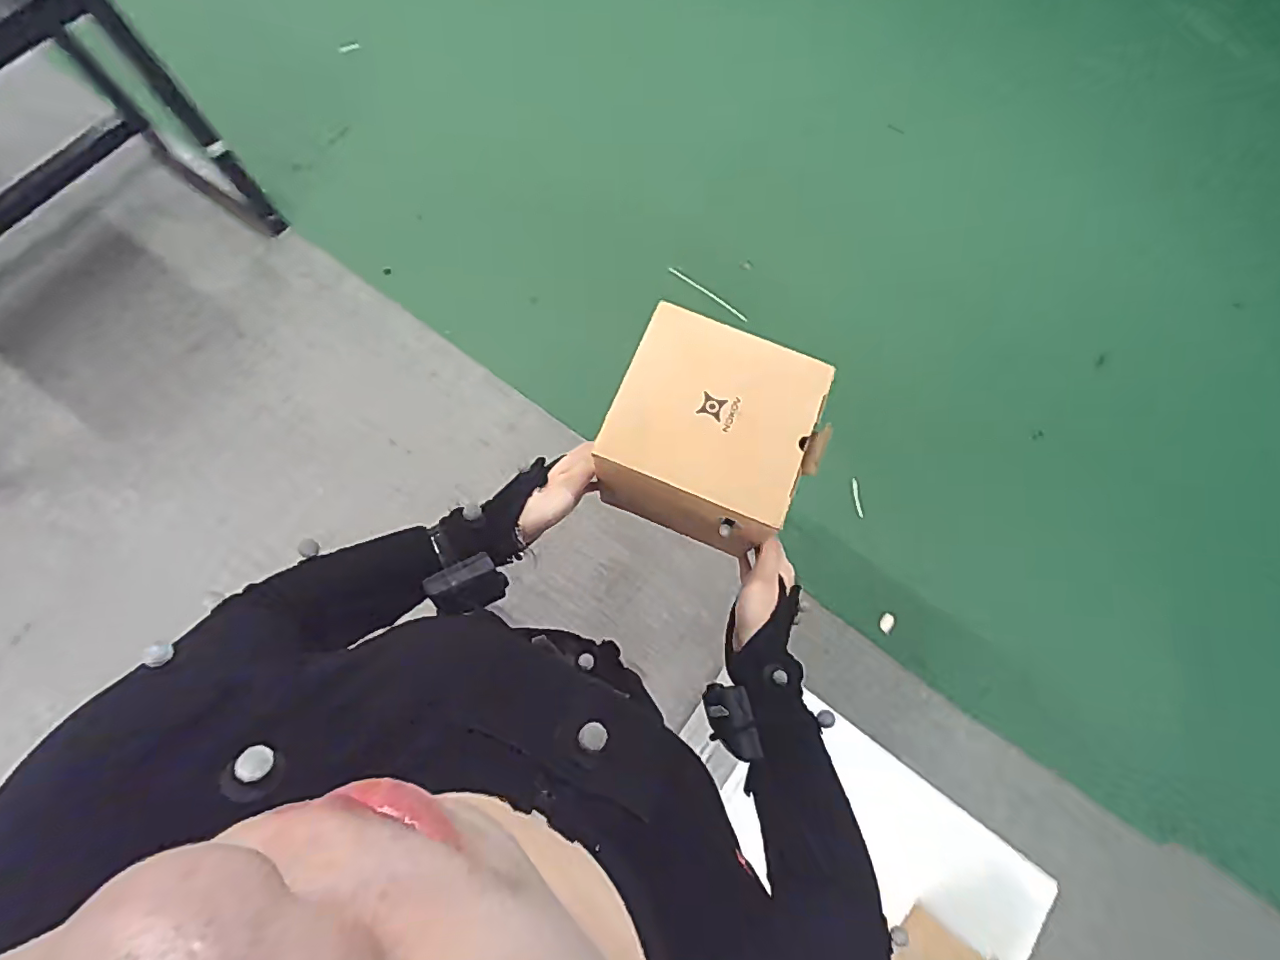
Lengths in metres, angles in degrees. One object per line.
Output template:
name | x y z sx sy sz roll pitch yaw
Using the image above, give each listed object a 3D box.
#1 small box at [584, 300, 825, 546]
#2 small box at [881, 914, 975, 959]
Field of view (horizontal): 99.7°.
small box | 0.057 -0.044 0.554 0.179 0.176 0.168 22 74 4
small box | 0.431 0.757 0.735 0.179 0.176 0.168 -43 81 -14
